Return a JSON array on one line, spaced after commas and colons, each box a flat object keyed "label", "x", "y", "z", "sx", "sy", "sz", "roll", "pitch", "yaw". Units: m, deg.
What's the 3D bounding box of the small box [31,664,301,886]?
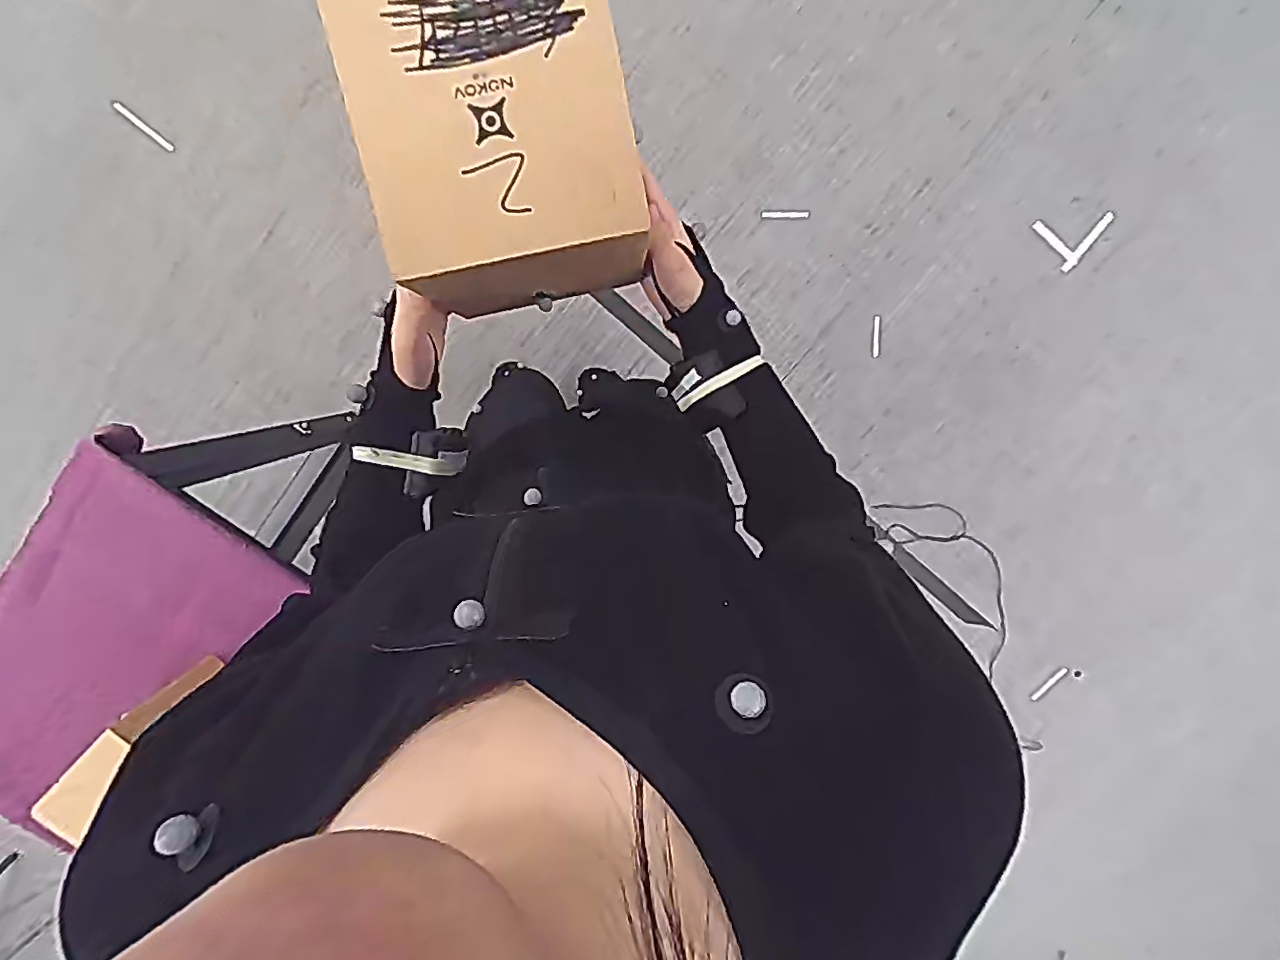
[{"label": "small box", "x": -0.620, "y": 0.380, "z": 0.733, "sx": 0.168, "sy": 0.176, "sz": 0.179, "roll": -43, "pitch": 101, "yaw": 8}]
